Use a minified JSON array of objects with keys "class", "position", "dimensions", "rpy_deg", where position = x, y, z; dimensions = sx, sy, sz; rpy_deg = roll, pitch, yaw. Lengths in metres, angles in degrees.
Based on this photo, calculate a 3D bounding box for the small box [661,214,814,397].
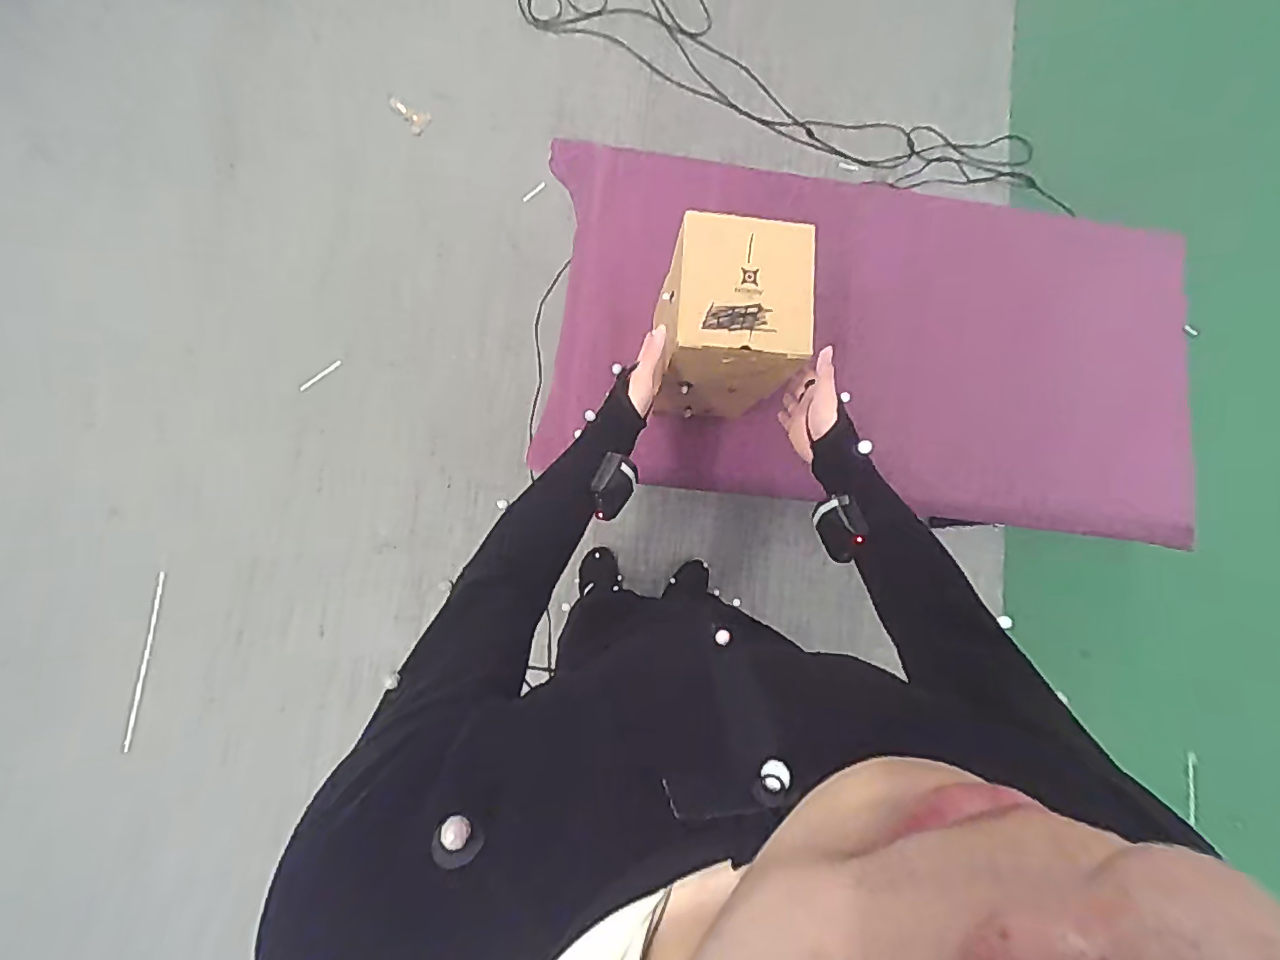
[{"class":"small box","position":[0.122,-0.221,0.729],"dimensions":[0.168,0.176,0.179],"rpy_deg":[5,80,-4]}]

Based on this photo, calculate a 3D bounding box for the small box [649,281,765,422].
[{"class":"small box","position":[0.108,-0.206,0.891],"dimensions":[0.168,0.176,0.179],"rpy_deg":[5,82,-4]}]
